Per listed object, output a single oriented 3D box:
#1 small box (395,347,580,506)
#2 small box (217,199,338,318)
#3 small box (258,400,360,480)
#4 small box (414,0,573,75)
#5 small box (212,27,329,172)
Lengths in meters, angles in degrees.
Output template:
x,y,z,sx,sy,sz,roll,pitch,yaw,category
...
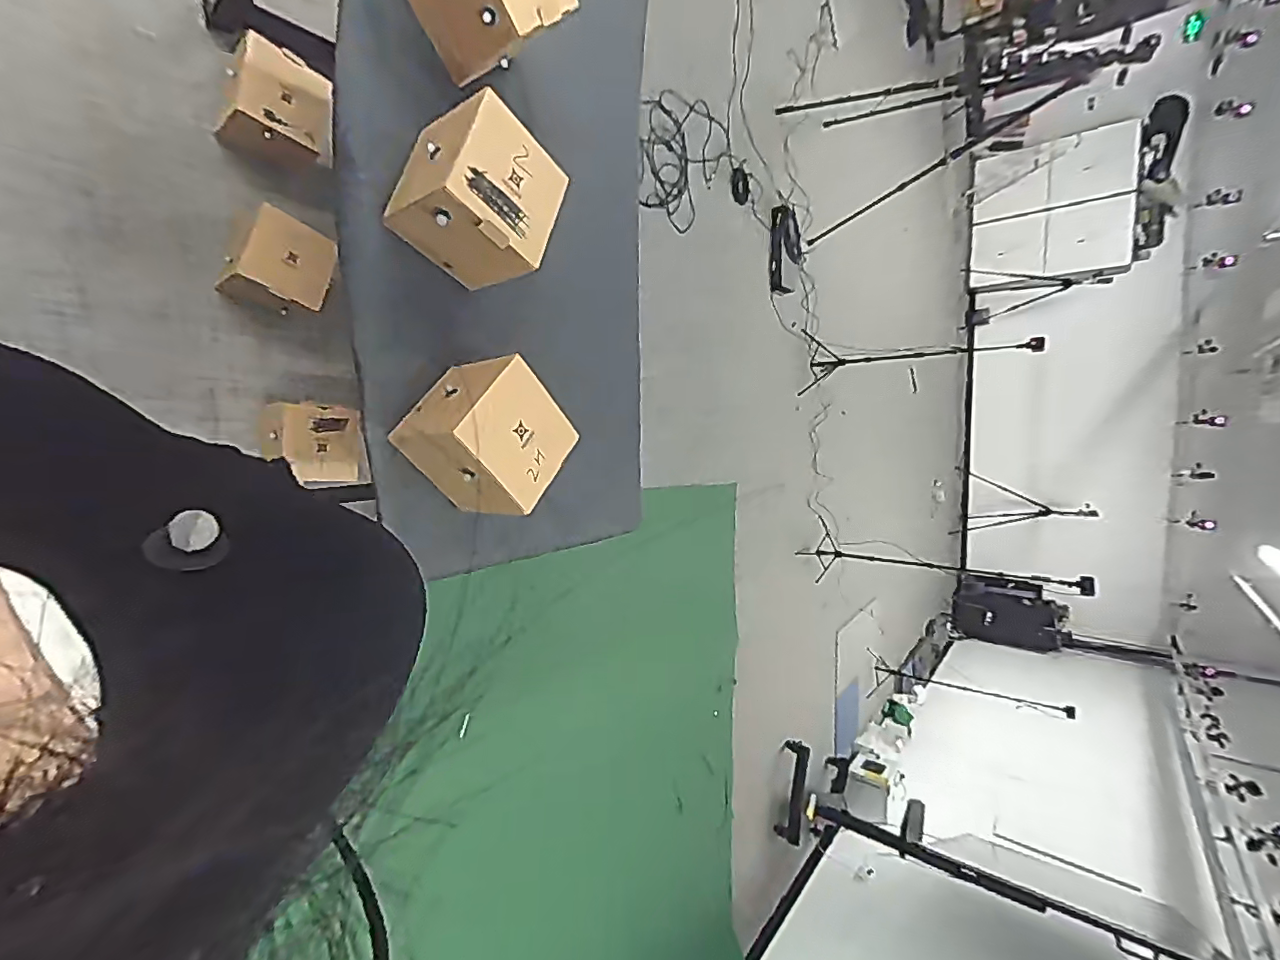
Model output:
x,y,z,sx,sy,sz,roll,pitch,yaw,category
-0.232,-0.075,0.828,0.179,0.176,0.168,56,49,-37,small box
-0.828,-0.491,1.231,0.168,0.176,0.179,24,72,-49,small box
-0.795,-0.091,1.295,0.168,0.176,0.179,1,92,-50,small box
-0.234,-0.749,0.794,0.168,0.176,0.179,-58,133,-31,small box
-0.828,-0.837,1.211,0.168,0.176,0.179,12,82,-50,small box
